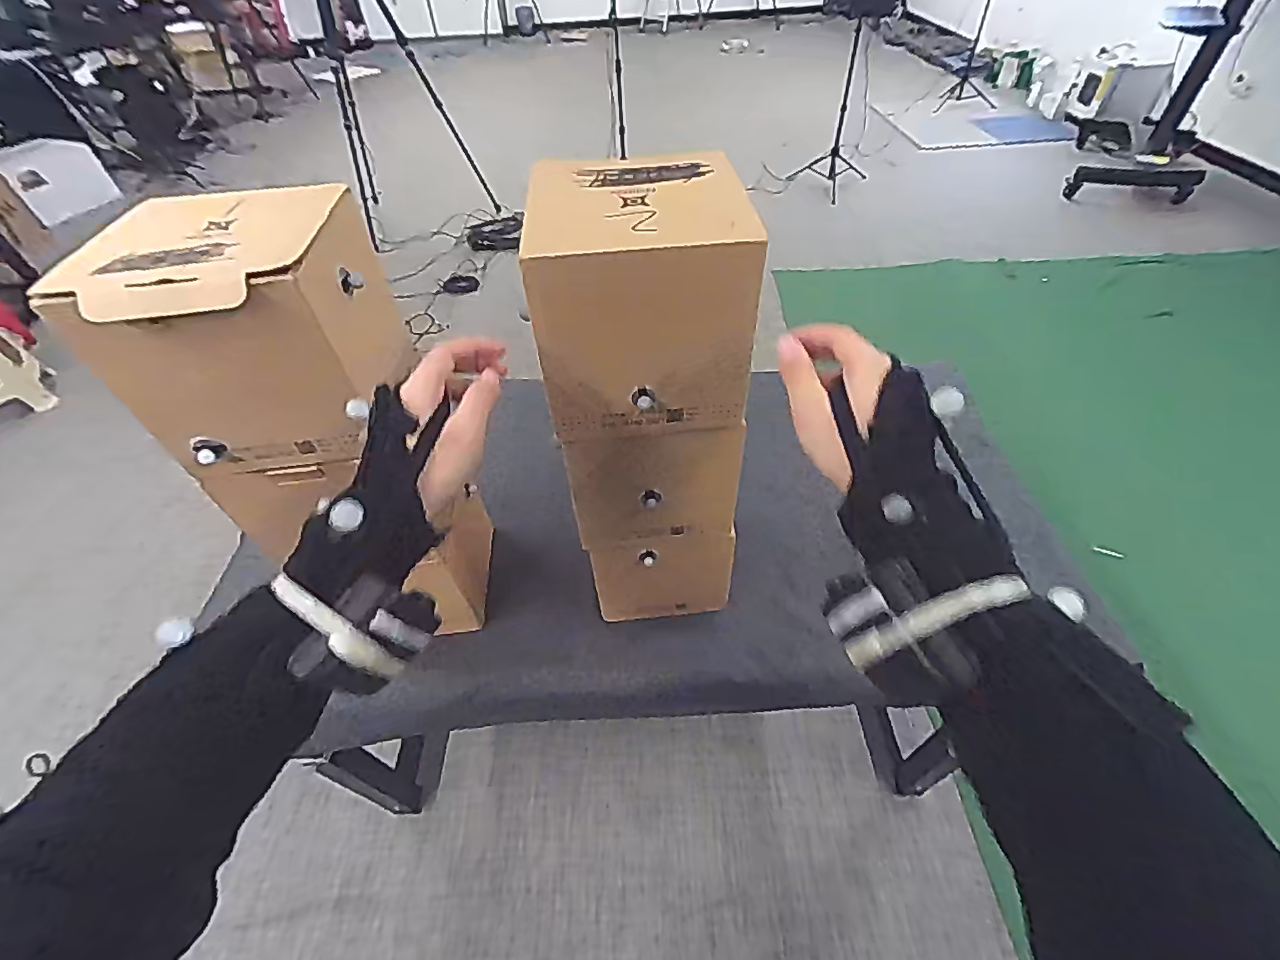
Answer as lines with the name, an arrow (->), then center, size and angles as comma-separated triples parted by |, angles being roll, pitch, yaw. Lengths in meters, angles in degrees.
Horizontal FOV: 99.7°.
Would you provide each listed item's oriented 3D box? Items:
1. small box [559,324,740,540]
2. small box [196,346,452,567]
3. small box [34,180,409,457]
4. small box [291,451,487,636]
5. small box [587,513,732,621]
small box -> 0.006, -0.047, 0.591 | 0.168, 0.176, 0.179 | -4, 47, -2
small box -> -0.311, -0.020, 0.583 | 0.168, 0.176, 0.179 | -6, 46, -5
small box -> -0.315, -0.133, 0.463 | 0.168, 0.176, 0.179 | -7, 46, -6
small box -> -0.305, 0.088, 0.704 | 0.168, 0.176, 0.179 | -6, 47, -3
small box -> 0.018, 0.064, 0.714 | 0.168, 0.176, 0.179 | -5, 47, -2
